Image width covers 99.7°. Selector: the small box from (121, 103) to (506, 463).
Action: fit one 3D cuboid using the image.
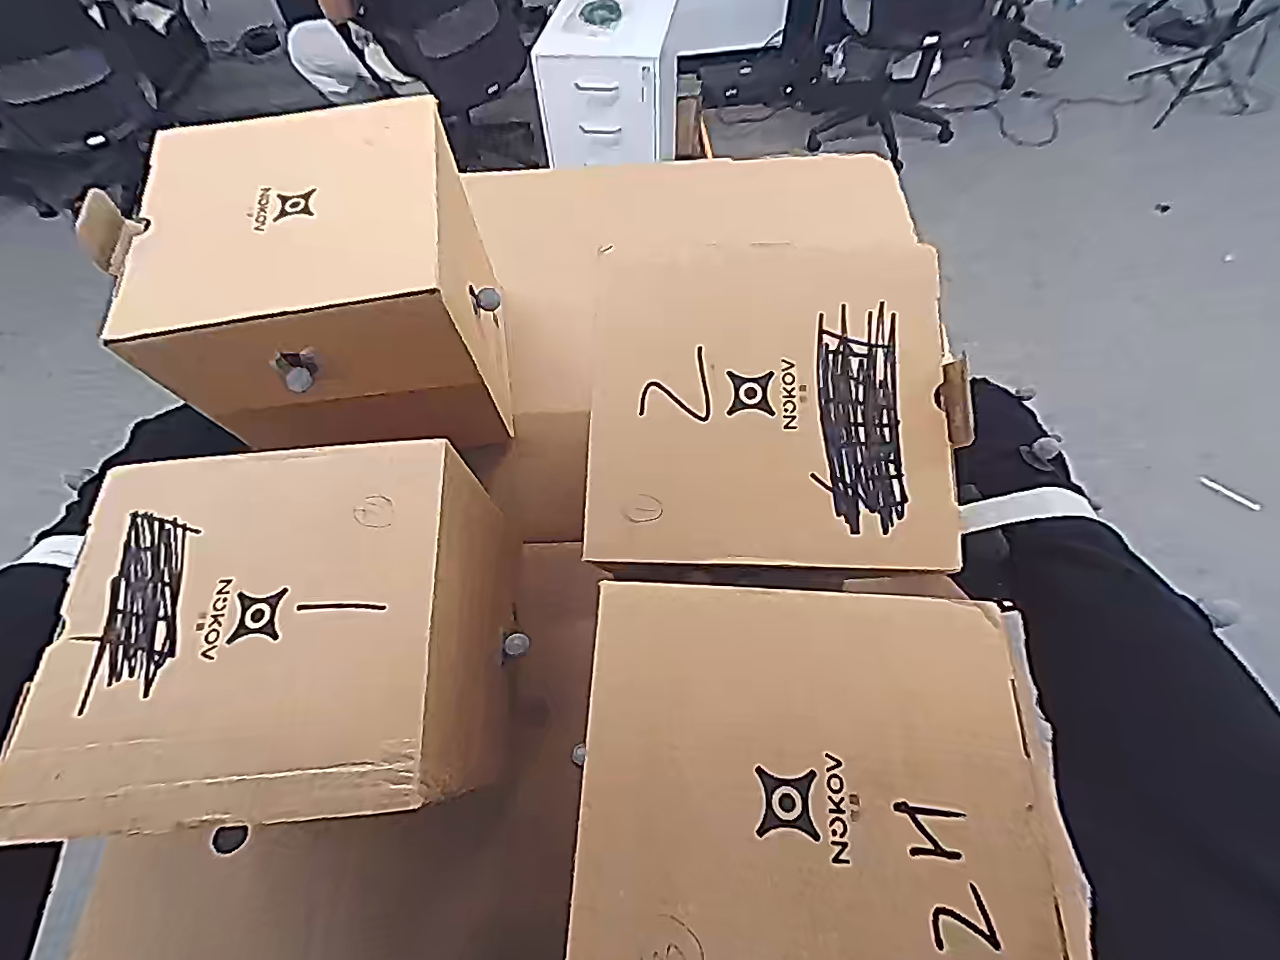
[{"bbox_3d":[-0.203,-0.129,0.397,0.179,0.176,0.168,-10,66,-1],"label":"small box"}]
